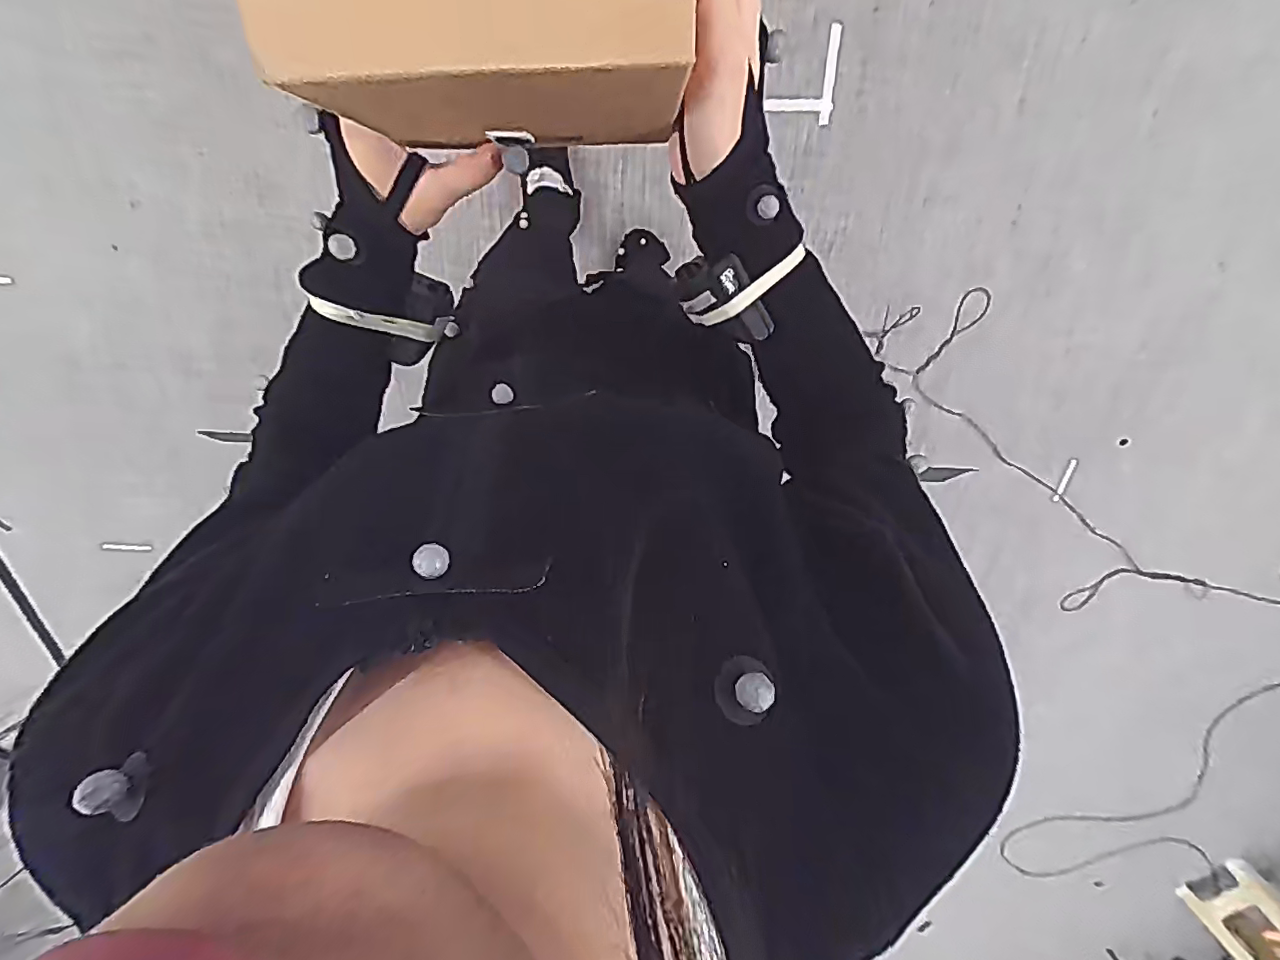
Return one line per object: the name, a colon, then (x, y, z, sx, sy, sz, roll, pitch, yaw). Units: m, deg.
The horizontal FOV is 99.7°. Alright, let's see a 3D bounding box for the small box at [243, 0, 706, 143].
small box: (-0.061, -0.266, 0.237, 0.168, 0.176, 0.179, -2, 114, 1)
